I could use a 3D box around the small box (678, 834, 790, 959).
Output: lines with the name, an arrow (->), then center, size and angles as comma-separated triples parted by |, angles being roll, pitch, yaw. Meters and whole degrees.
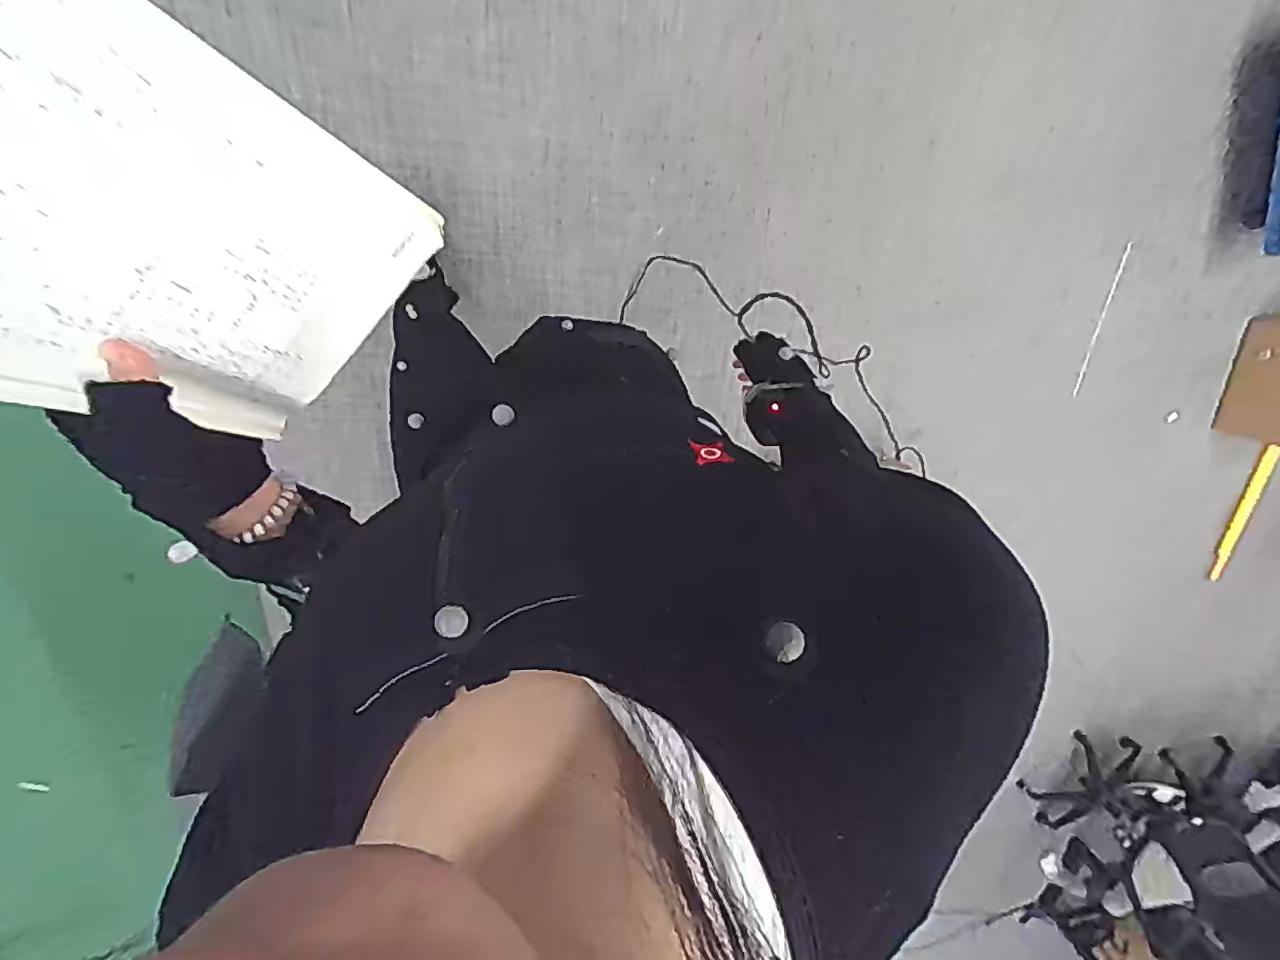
small box -> 0.182, 0.859, 1.107 | 0.168, 0.176, 0.179 | 1, 112, -13
